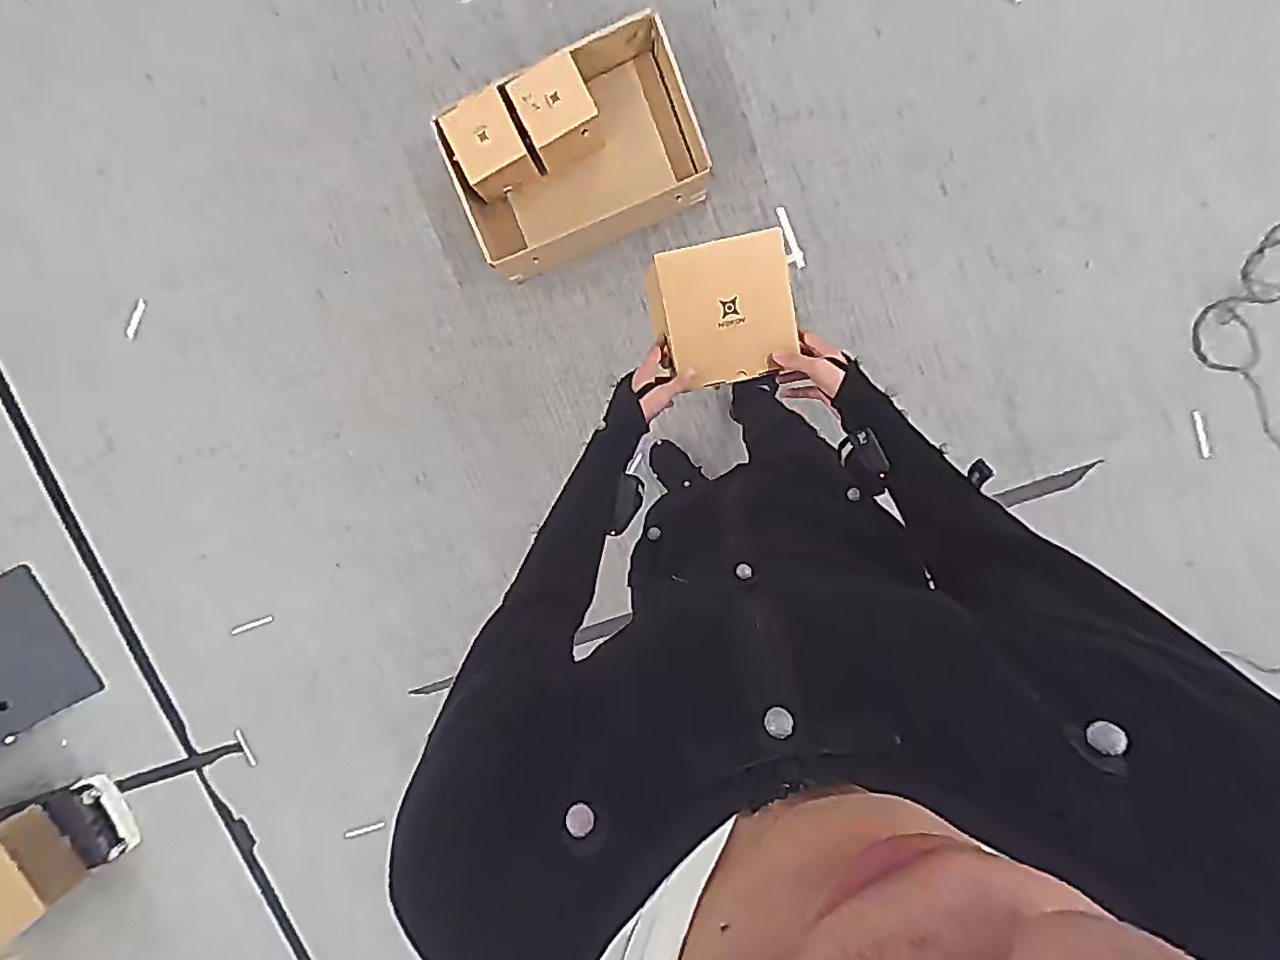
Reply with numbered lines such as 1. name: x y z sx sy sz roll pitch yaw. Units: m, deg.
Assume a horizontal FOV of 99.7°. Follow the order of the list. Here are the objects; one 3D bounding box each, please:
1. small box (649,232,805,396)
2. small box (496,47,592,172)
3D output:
1. small box: 0.111 -0.221 0.757 0.168 0.176 0.179 -13 102 -1
2. small box: -0.233 -0.929 1.373 0.179 0.176 0.168 -28 97 6
